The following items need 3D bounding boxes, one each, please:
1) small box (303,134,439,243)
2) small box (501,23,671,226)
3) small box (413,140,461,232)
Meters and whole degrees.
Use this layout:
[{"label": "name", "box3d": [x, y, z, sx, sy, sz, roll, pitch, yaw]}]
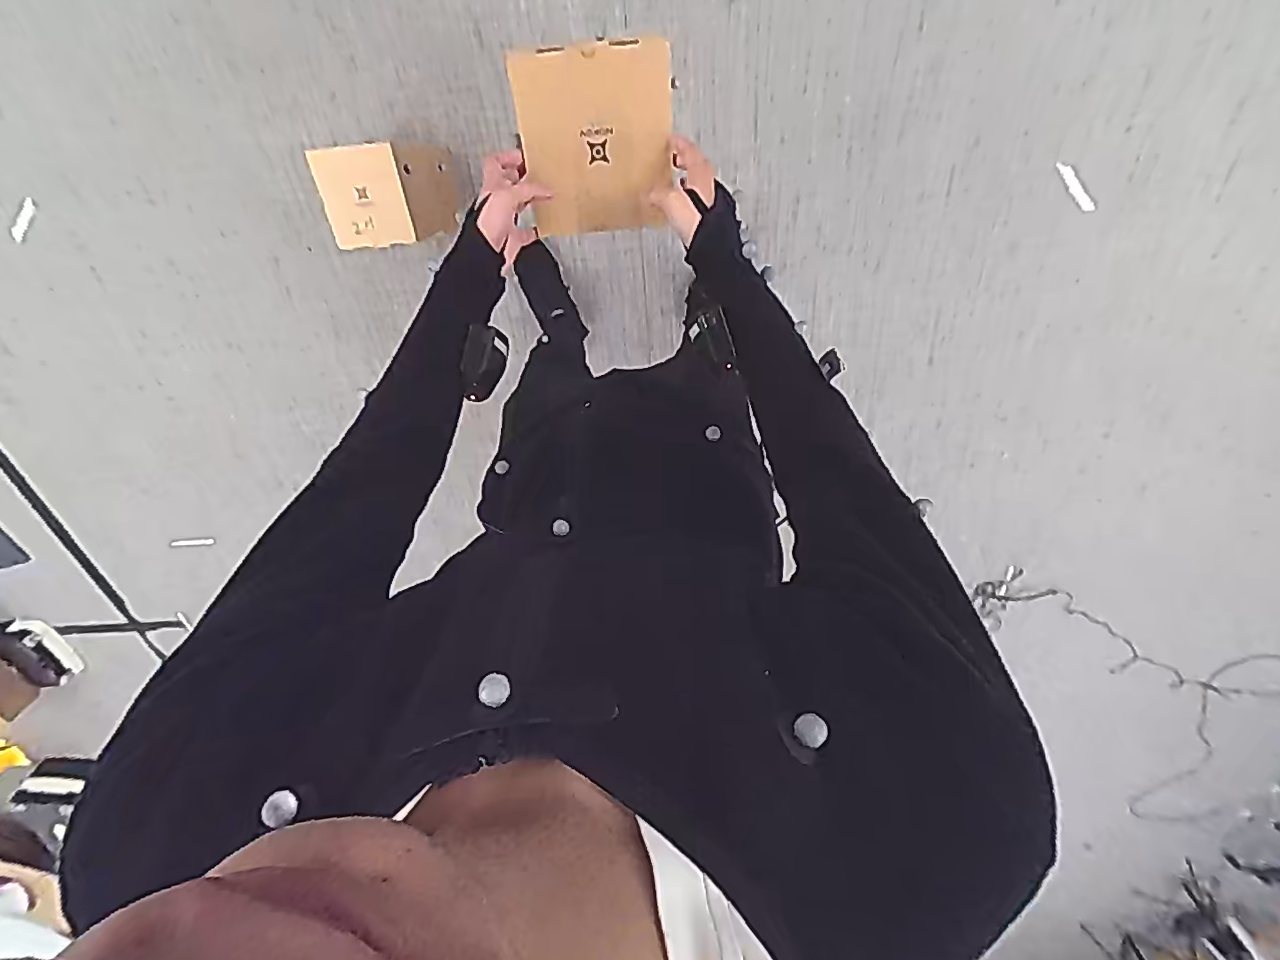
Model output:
[{"label": "small box", "box3d": [-0.530, -0.591, 1.096, 0.168, 0.176, 0.179, -3, 122, 3]}, {"label": "small box", "box3d": [-0.053, -0.418, 0.636, 0.168, 0.176, 0.179, -5, 128, 0]}, {"label": "small box", "box3d": [-0.530, -0.670, 1.239, 0.168, 0.176, 0.179, -3, 122, 3]}]
